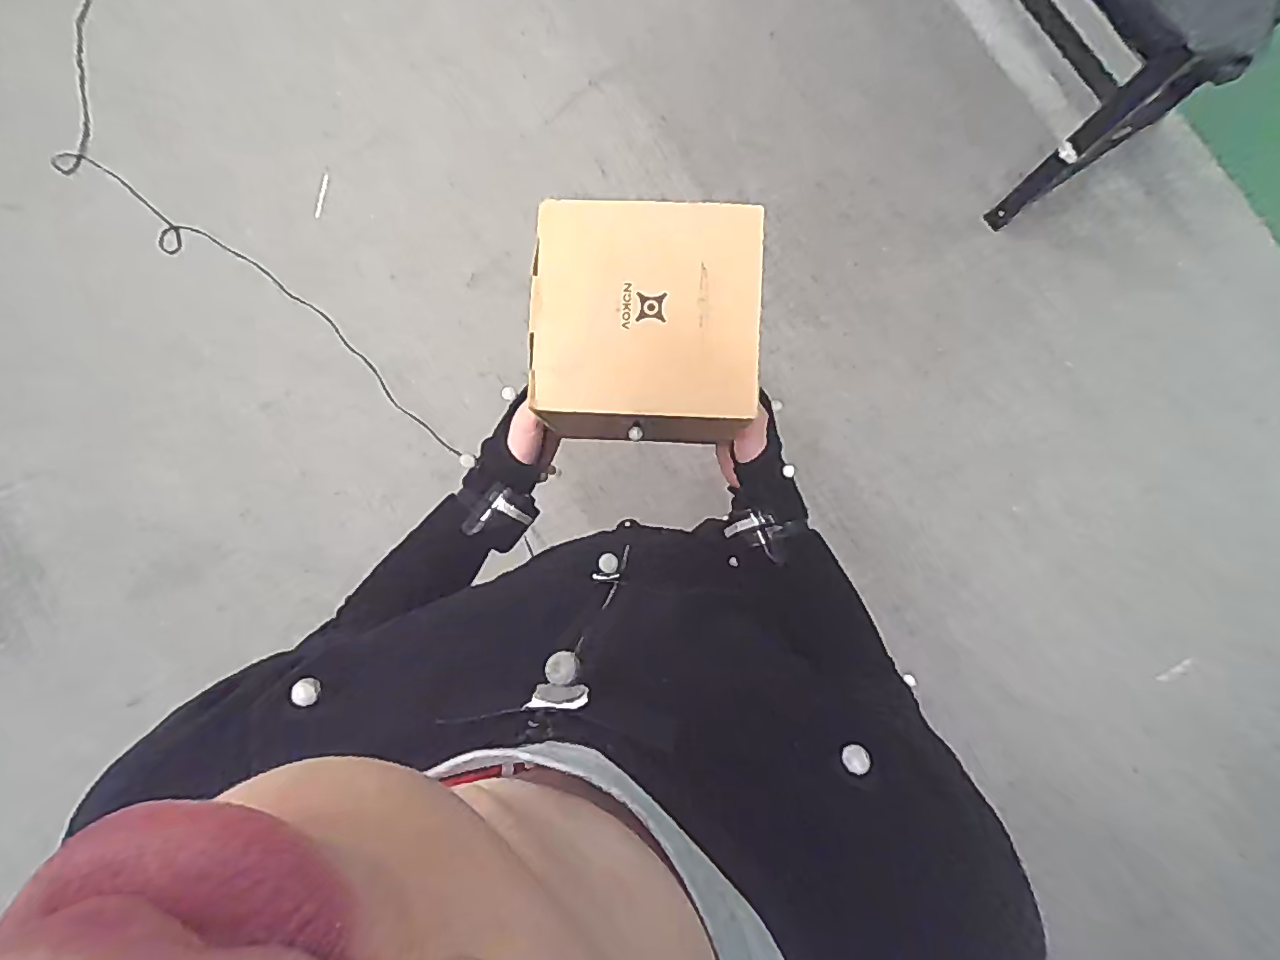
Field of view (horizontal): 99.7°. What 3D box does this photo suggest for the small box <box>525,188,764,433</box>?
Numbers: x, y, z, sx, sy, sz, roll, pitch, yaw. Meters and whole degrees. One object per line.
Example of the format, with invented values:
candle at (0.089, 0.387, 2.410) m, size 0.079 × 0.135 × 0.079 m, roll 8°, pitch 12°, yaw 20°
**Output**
small box at (0.005, -0.134, 0.484) m, size 0.179 × 0.176 × 0.168 m, roll 2°, pitch 89°, yaw 1°
